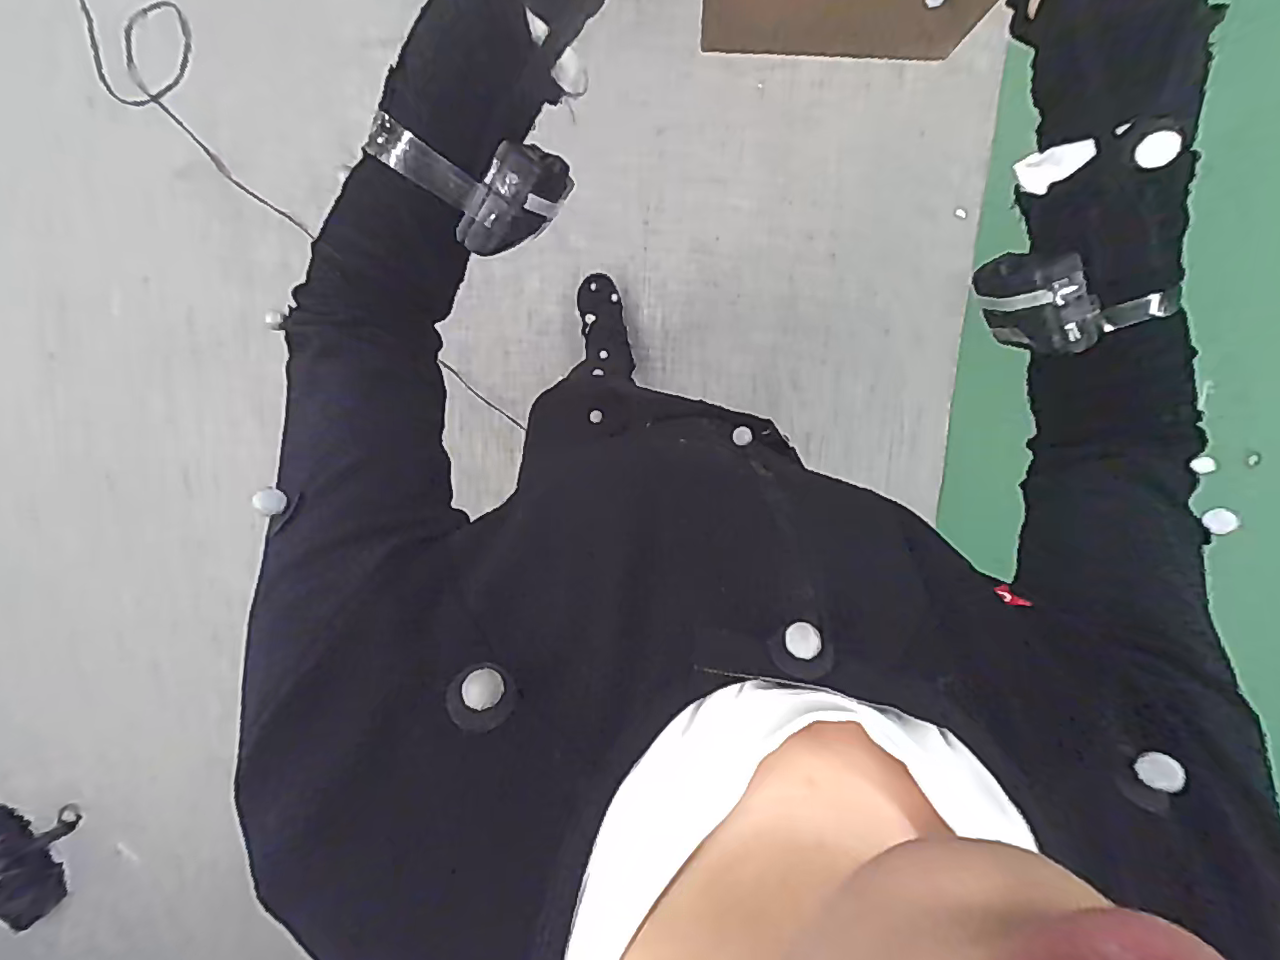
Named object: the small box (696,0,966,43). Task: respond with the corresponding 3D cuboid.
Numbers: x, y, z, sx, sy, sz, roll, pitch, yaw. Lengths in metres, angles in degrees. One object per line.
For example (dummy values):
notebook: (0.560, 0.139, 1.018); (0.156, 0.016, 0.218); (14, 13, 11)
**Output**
small box: (0.125, -0.369, 0.283); (0.179, 0.176, 0.168); (5, 102, 4)
